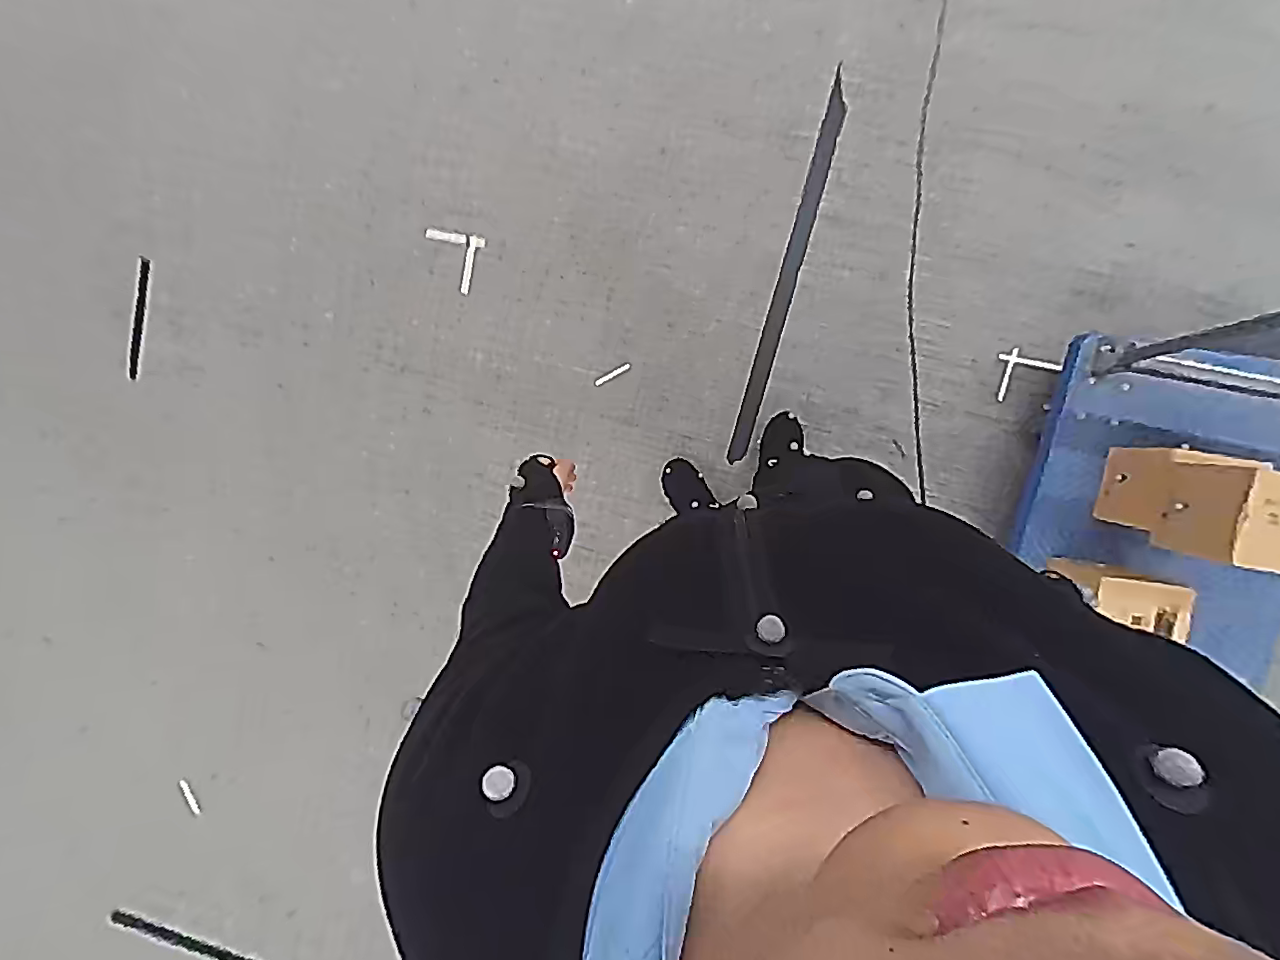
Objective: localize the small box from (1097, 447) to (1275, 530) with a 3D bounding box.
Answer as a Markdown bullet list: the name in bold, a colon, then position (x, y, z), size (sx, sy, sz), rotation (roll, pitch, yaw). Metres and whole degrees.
- **small box**: position (1.108, 0.025, 1.114), size (0.179, 0.176, 0.168), rotation (10, 96, 6)

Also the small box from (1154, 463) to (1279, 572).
- **small box**: position (1.084, 0.065, 0.954), size (0.179, 0.176, 0.168), rotation (10, 96, 6)
